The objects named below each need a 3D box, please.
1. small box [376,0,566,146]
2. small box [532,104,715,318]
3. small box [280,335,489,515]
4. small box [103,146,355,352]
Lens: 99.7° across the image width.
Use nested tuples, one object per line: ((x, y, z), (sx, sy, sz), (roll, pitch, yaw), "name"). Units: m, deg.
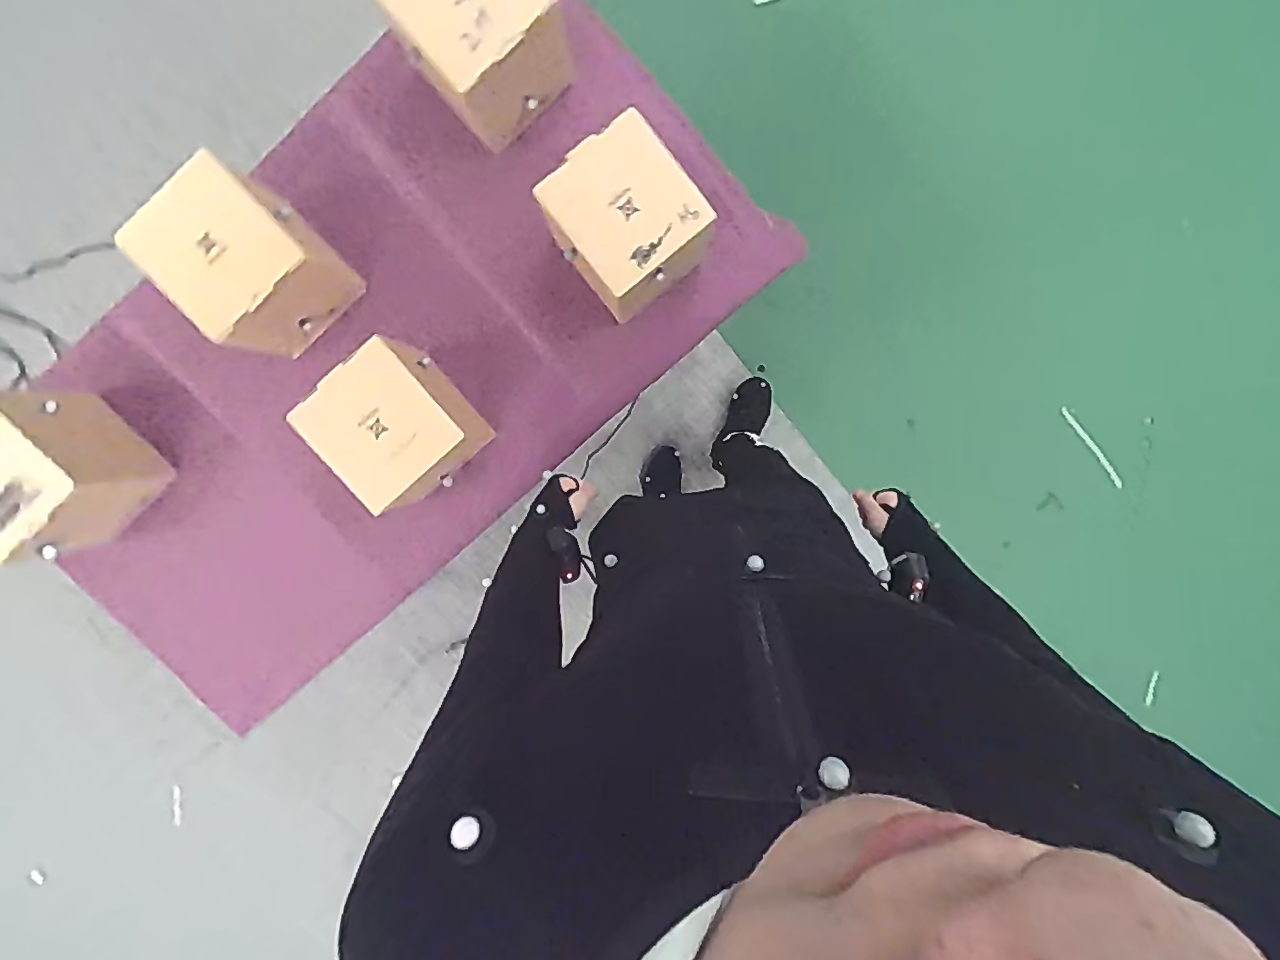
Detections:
((-0.221, -0.599, 0.719), (0.168, 0.176, 0.179), (-41, 97, 5), "small box")
((-0.021, -0.354, 0.753), (0.168, 0.176, 0.179), (-39, 93, 4), "small box")
((-0.347, -0.075, 0.772), (0.168, 0.176, 0.179), (-40, 95, 3), "small box")
((-0.542, -0.297, 0.743), (0.168, 0.176, 0.179), (-43, 97, 2), "small box")
